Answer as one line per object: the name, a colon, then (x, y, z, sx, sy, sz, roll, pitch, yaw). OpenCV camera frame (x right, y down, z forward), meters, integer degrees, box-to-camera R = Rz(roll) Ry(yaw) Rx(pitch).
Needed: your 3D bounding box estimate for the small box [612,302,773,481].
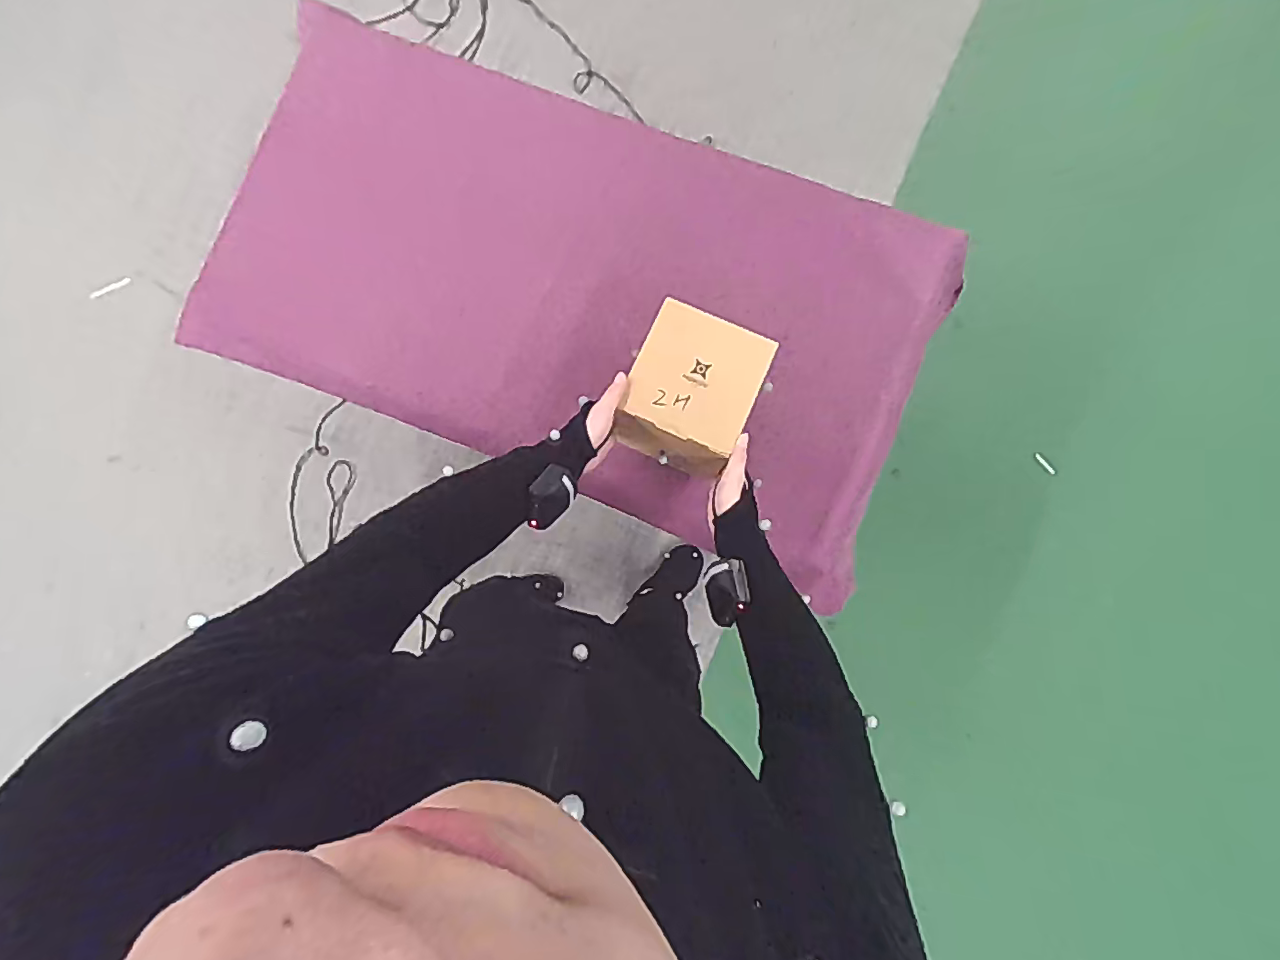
small box: (0.068, -0.118, 0.790, 0.168, 0.176, 0.179, 24, 80, 4)
